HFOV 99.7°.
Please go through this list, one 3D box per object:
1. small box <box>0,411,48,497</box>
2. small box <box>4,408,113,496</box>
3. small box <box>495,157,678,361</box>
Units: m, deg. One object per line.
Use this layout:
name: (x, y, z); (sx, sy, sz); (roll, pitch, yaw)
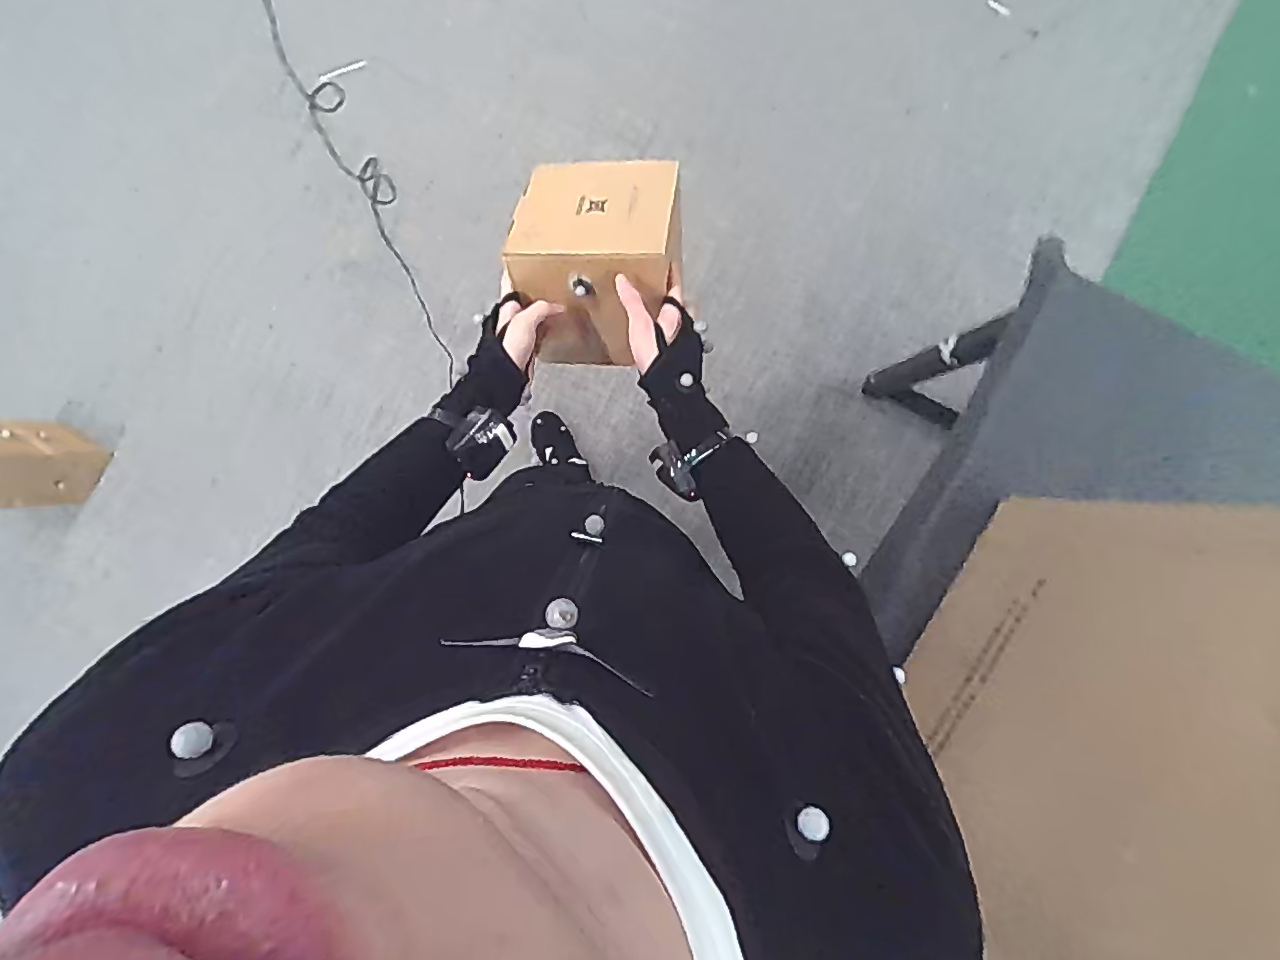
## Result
small box: (-1.634, -0.066, 1.319); (0.168, 0.176, 0.179); (35, 90, 0)
small box: (-1.625, -0.073, 1.484); (0.168, 0.176, 0.179); (34, 91, 1)
small box: (-0.050, -0.262, 0.659); (0.179, 0.176, 0.168); (3, 60, 8)
